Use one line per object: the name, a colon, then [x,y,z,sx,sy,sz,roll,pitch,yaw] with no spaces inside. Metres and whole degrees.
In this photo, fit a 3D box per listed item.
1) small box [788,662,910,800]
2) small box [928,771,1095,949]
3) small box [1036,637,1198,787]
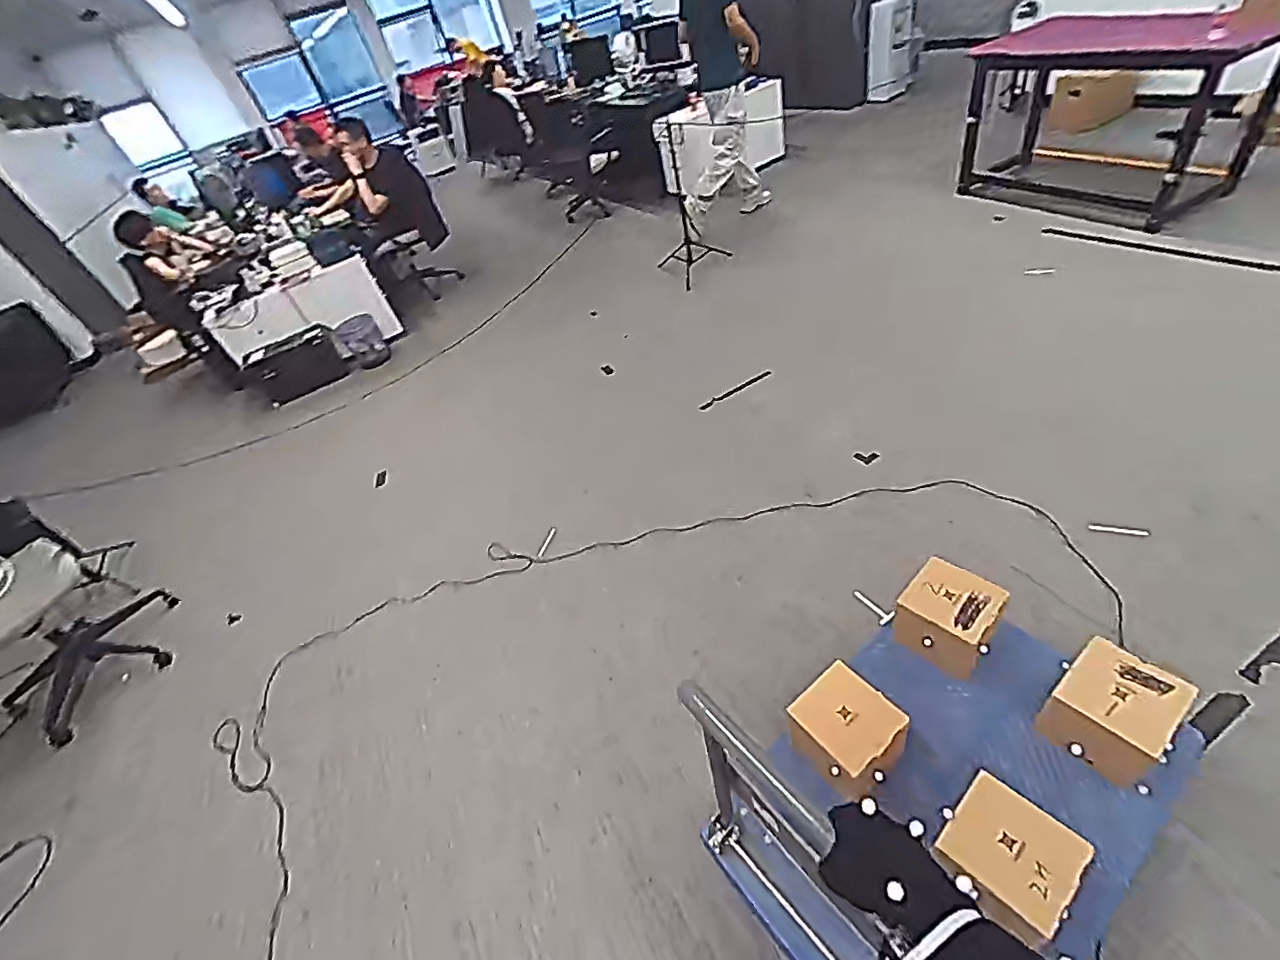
small box: [0.434,0.531,1.143,0.168,0.176,0.179,-35,46,-18]
small box: [0.628,0.659,0.937,0.168,0.176,0.179,-39,45,-22]
small box: [0.916,0.452,1.056,0.179,0.176,0.168,-37,45,-19]
